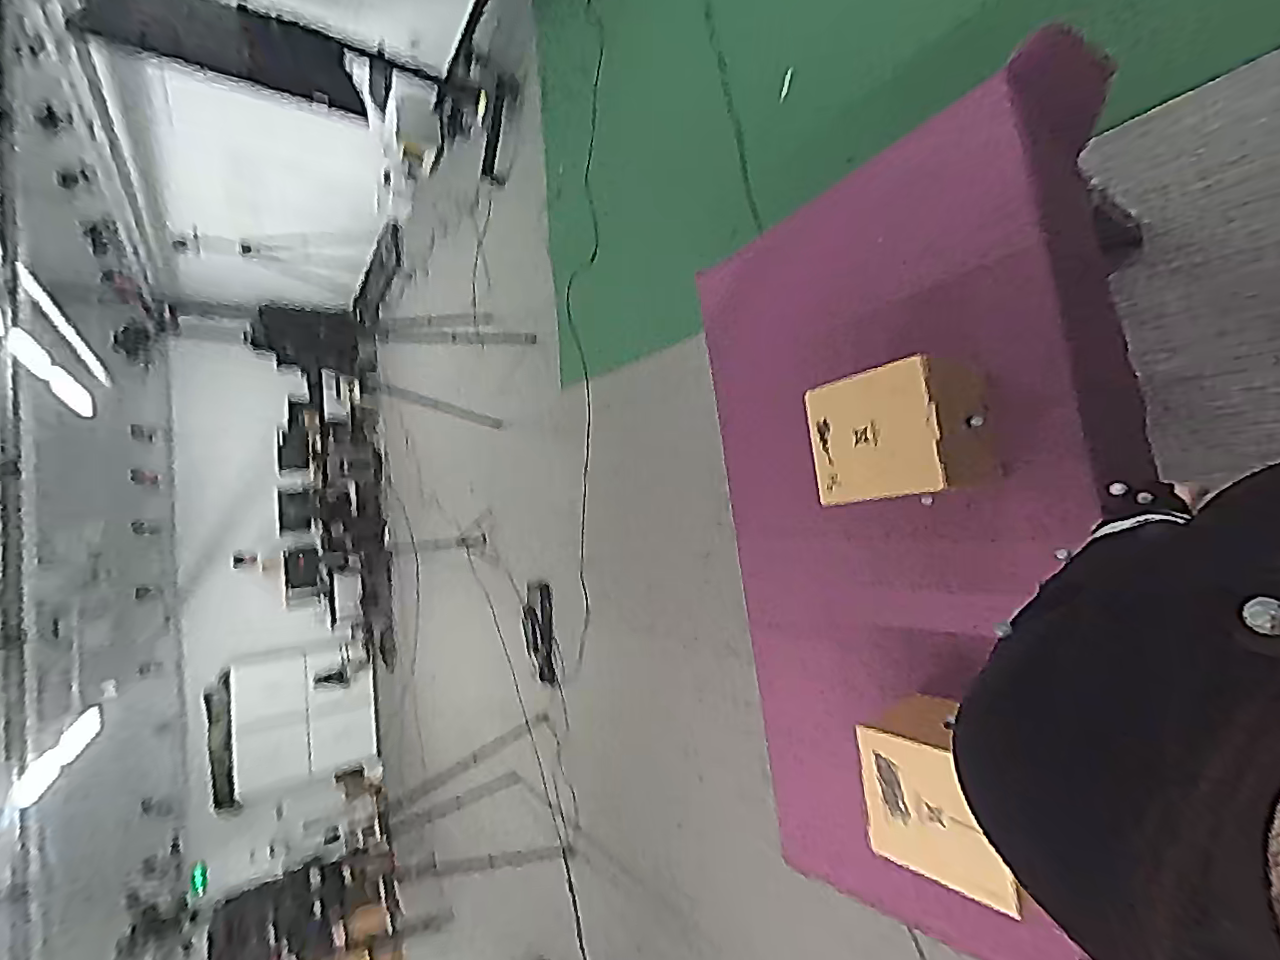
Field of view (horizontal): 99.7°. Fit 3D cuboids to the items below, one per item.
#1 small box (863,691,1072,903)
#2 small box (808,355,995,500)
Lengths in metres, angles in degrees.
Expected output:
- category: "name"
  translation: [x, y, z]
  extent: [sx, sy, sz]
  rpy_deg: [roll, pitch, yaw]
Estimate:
- category: "small box"
  translation: [0.429, 0.394, 0.715]
  extent: [0.179, 0.176, 0.168]
  rpy_deg: [-11, 84, 53]
- category: "small box"
  translation: [0.368, -0.067, 0.758]
  extent: [0.179, 0.176, 0.168]
  rpy_deg: [-14, 82, 53]
